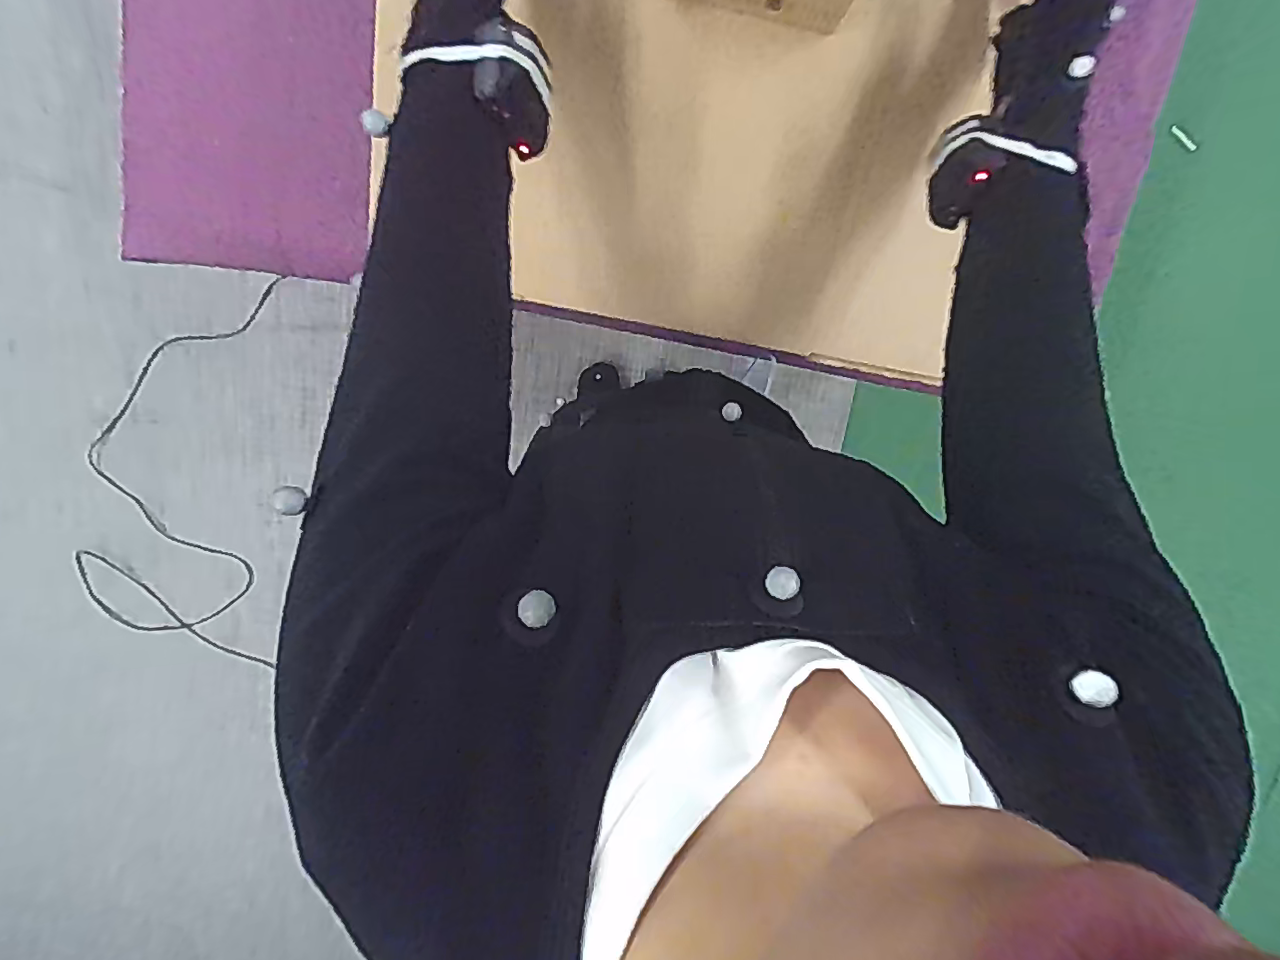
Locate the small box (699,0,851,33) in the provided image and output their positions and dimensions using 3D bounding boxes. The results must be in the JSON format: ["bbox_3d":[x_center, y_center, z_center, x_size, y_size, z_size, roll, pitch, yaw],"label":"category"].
[{"bbox_3d":[0.110,-0.475,0.376,0.168,0.176,0.179,10,100,-4],"label":"small box"}]
